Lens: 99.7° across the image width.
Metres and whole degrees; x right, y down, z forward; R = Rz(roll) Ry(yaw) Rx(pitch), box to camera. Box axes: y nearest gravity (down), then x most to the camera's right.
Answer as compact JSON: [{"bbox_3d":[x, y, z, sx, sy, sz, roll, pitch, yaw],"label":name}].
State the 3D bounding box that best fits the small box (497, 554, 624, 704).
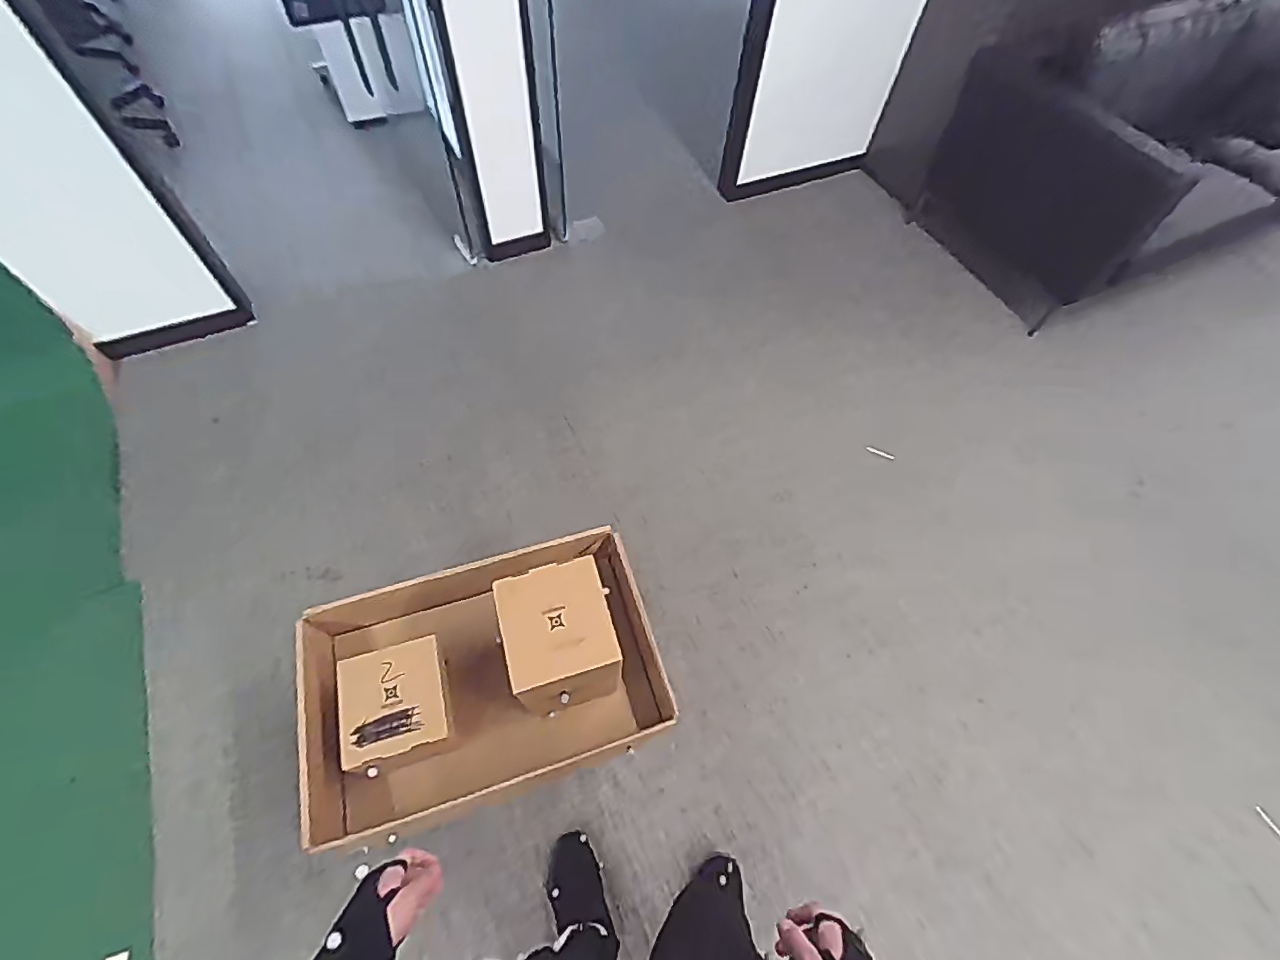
[{"bbox_3d":[-0.129,0.249,0.890,0.168,0.176,0.179,-13,63,-11],"label":"small box"}]
